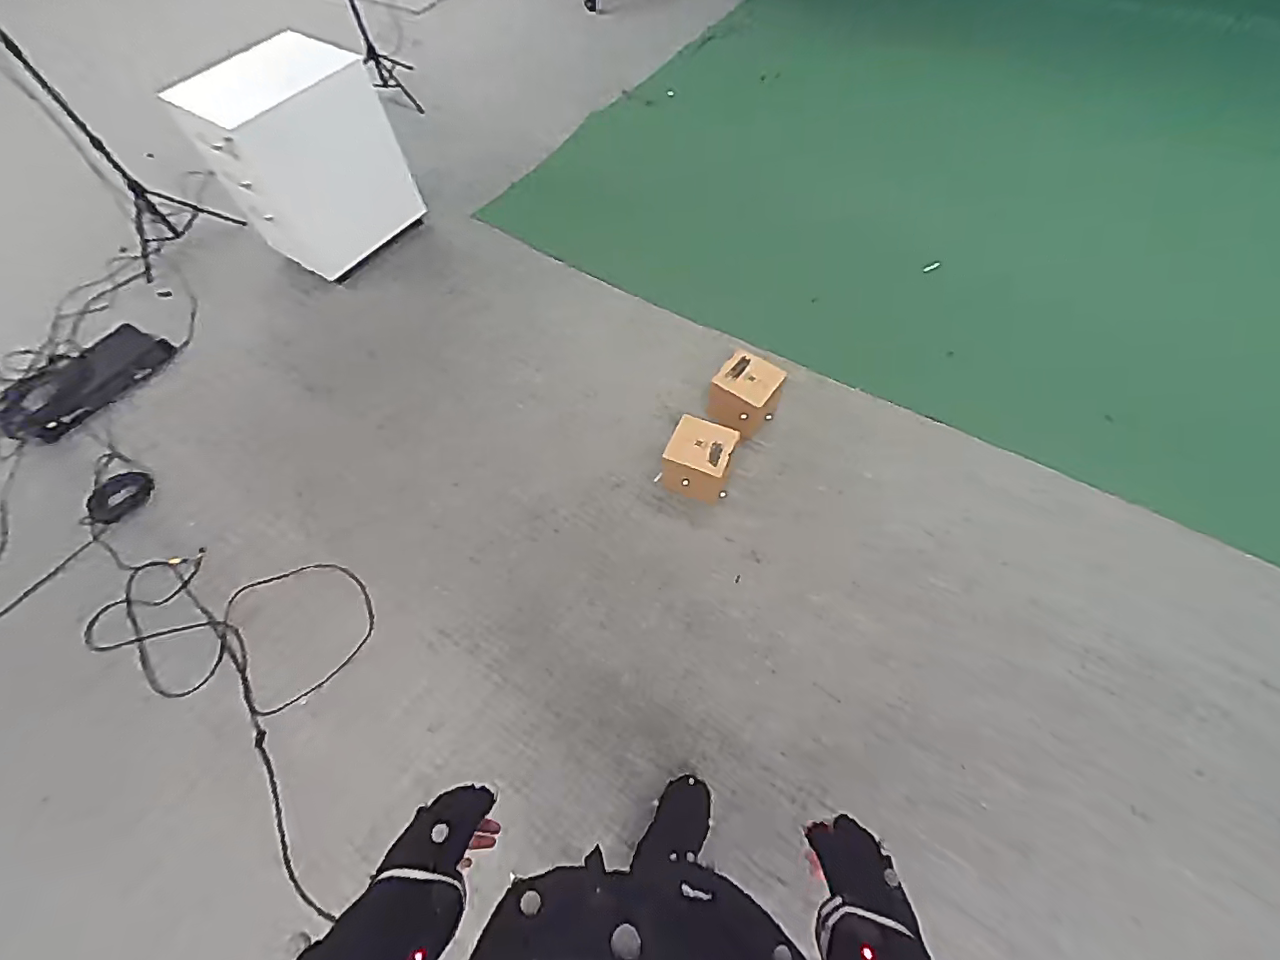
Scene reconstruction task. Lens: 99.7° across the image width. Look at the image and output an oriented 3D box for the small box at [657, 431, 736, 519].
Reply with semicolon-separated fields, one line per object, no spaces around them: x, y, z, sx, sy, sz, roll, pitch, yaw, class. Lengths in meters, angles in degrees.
0.161;-0.008;1.574;0.179;0.176;0.168;21;61;15;small box
